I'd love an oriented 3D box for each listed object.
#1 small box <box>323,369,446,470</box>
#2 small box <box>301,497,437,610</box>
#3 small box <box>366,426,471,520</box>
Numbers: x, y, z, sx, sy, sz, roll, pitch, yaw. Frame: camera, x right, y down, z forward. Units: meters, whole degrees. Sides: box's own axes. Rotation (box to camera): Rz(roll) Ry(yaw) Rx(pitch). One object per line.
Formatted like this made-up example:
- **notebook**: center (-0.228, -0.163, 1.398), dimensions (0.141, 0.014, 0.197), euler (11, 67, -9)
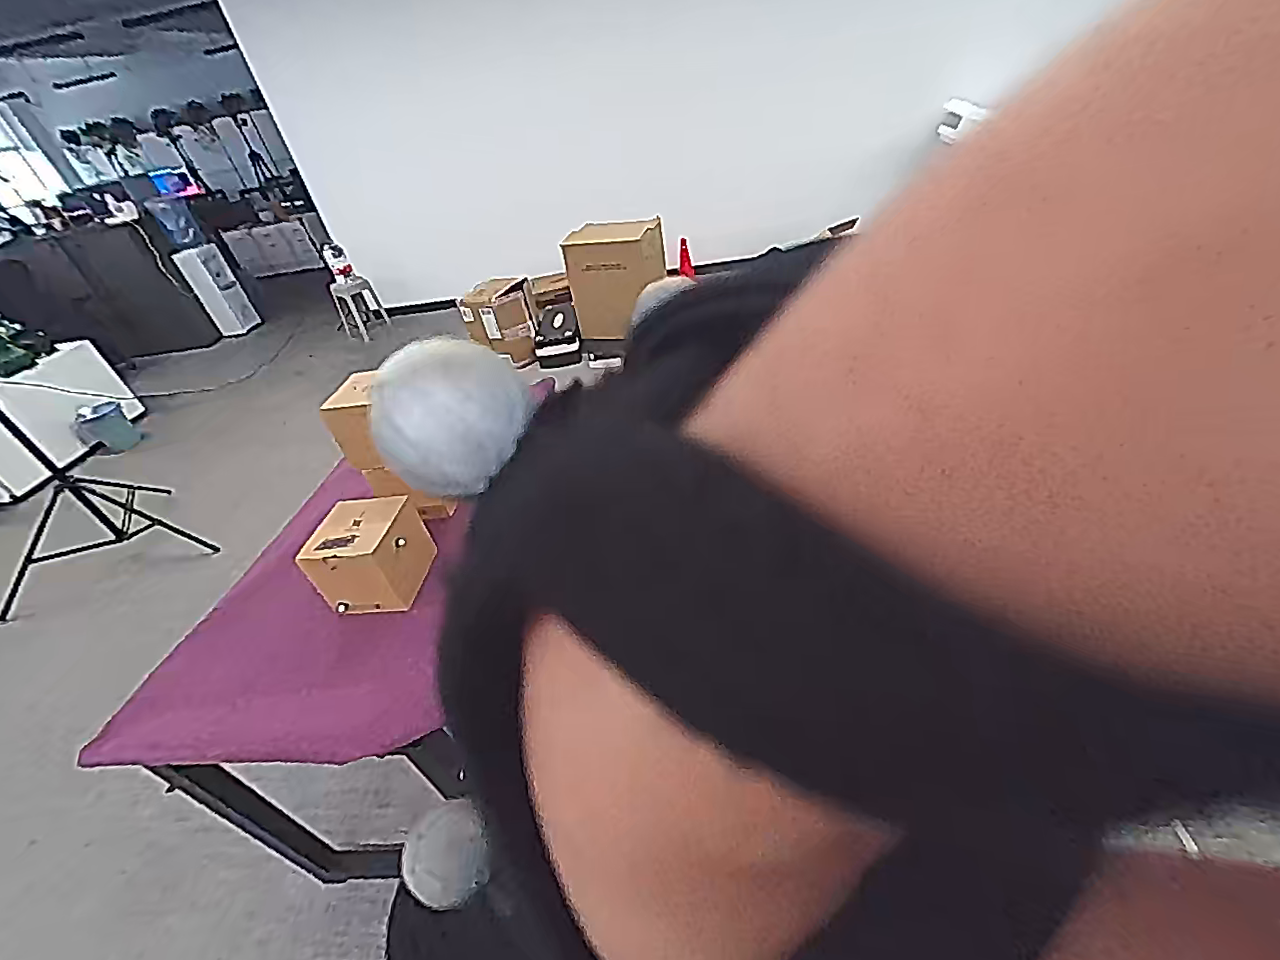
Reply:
- **small box**: center (-0.580, -0.139, 1.261), dimensions (0.179, 0.176, 0.168), euler (-5, 38, 9)
- **small box**: center (-0.555, 0.160, 1.139), dimensions (0.168, 0.176, 0.179), euler (-5, 37, 8)
- **small box**: center (-0.546, -0.015, 1.365), dimensions (0.168, 0.176, 0.179), euler (-5, 38, 9)
